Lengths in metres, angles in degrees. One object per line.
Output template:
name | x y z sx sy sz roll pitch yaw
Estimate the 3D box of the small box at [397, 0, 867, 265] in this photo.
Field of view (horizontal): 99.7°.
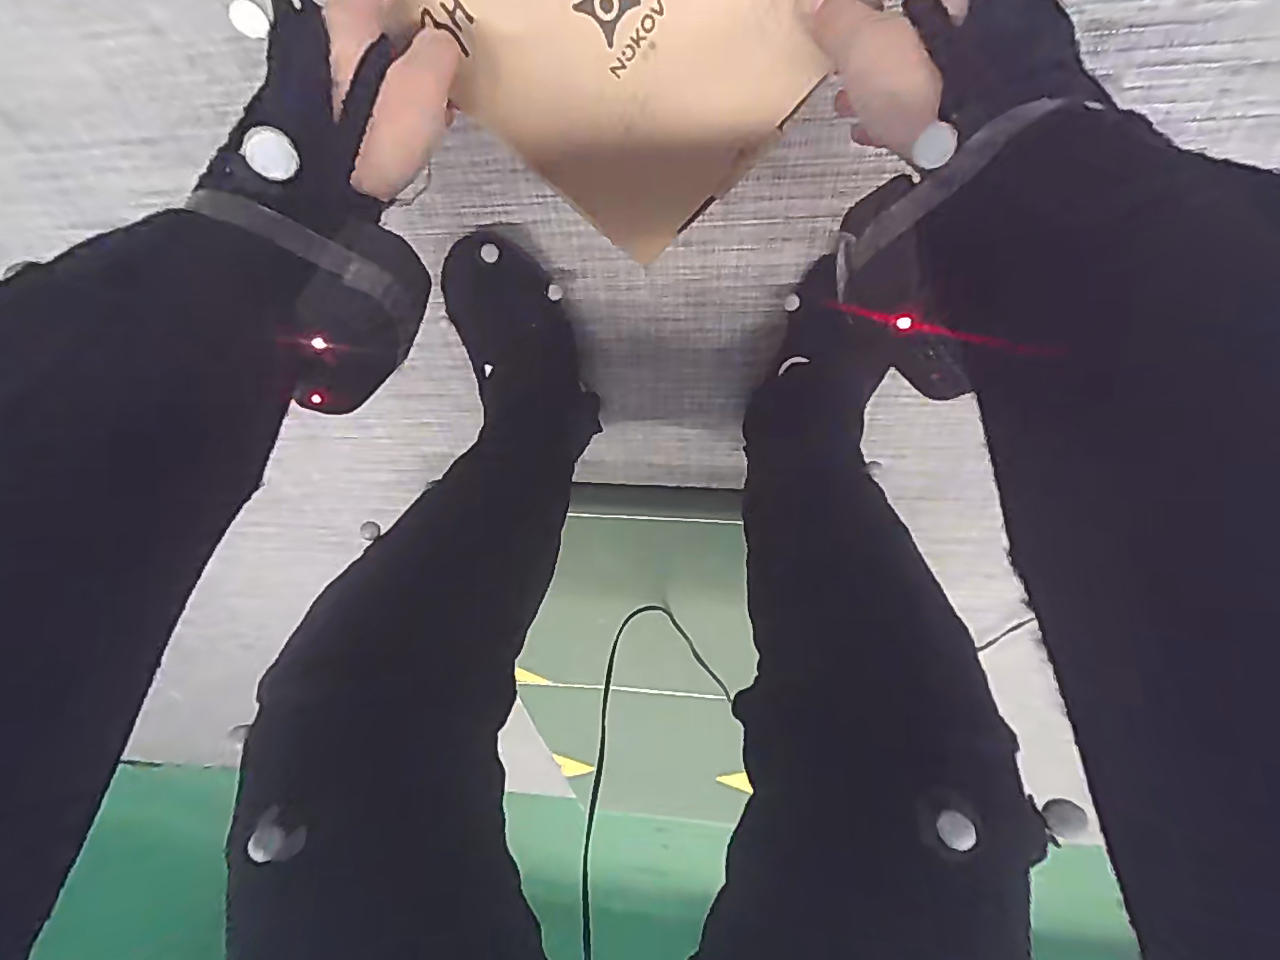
small box | 0.001 -0.275 0.317 0.179 0.176 0.168 34 132 -26
